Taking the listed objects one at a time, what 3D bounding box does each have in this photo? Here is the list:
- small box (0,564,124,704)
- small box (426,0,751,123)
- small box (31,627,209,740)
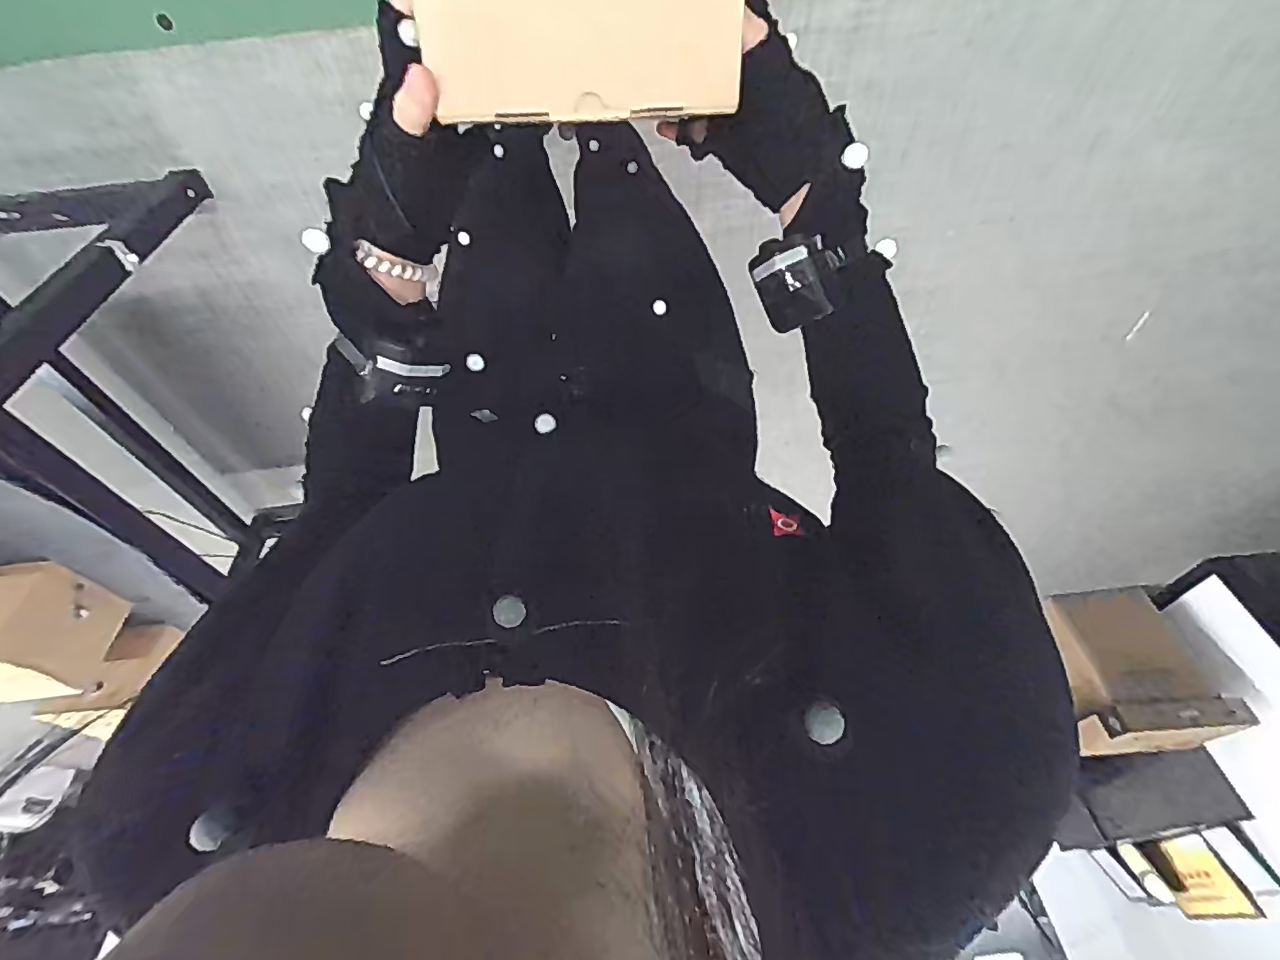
[{"bbox_3d":[-1.040,0.257,0.901,0.179,0.176,0.168,-7,141,1],"label":"small box"},{"bbox_3d":[-0.036,-0.315,0.314,0.168,0.176,0.179,-6,125,-5],"label":"small box"},{"bbox_3d":[-1.022,0.408,1.090,0.179,0.176,0.168,-5,140,0],"label":"small box"}]
